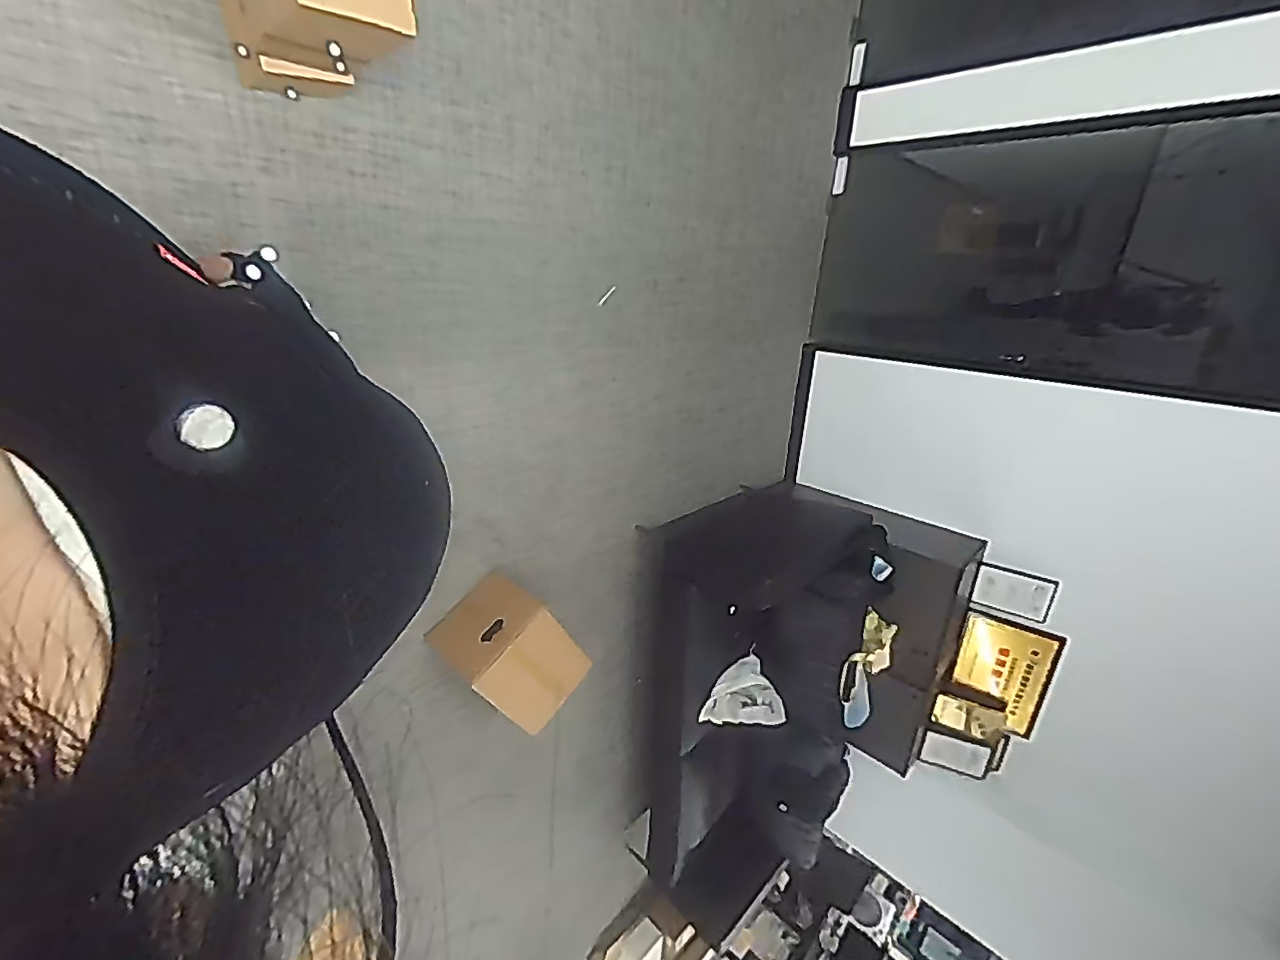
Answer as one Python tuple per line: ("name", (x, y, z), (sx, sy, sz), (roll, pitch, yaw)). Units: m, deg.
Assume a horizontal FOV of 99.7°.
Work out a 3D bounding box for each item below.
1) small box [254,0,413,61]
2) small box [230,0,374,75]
("small box", (-0.484, -0.784, 0.842), (0.179, 0.176, 0.168), (-20, 120, -43))
("small box", (-0.597, -0.839, 0.948), (0.179, 0.176, 0.168), (-19, 119, -41))
